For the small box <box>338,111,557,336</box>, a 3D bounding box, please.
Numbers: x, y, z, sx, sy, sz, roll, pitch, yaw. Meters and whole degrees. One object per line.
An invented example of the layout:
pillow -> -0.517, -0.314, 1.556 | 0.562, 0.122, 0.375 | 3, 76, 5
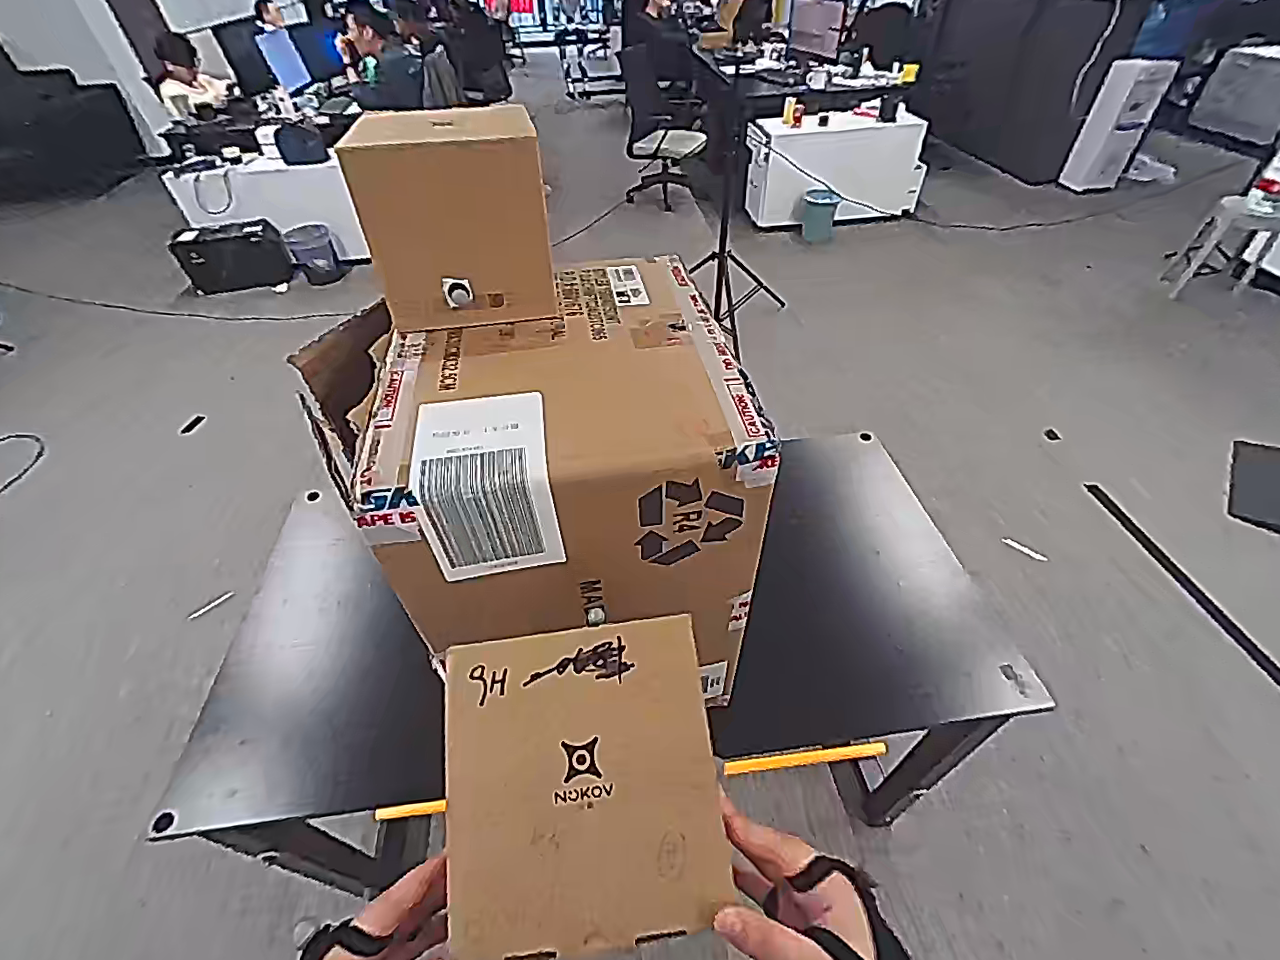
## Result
small box -> -0.186, -0.272, 0.569 | 0.168, 0.176, 0.179 | -10, 44, -9
